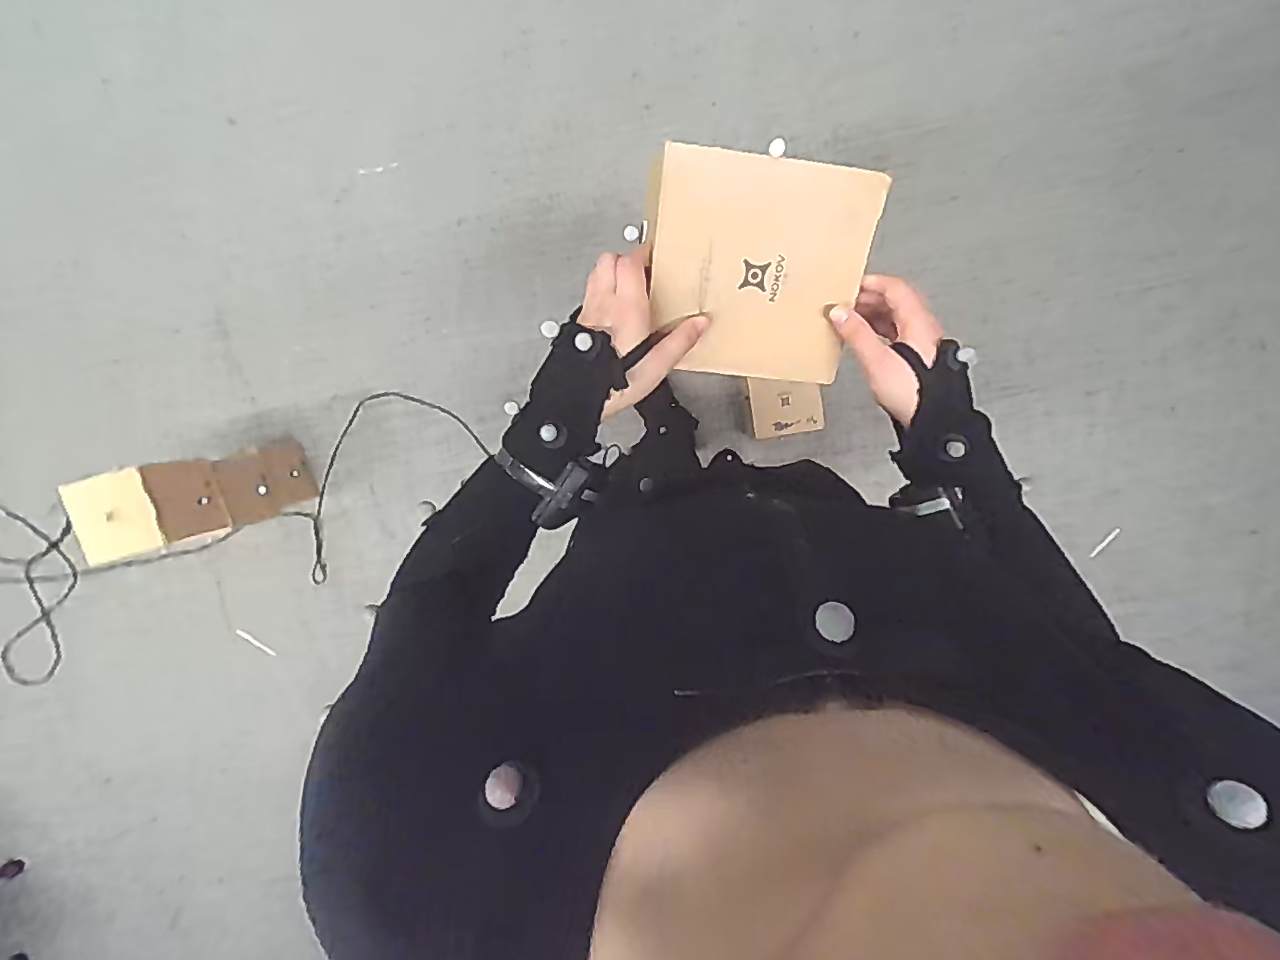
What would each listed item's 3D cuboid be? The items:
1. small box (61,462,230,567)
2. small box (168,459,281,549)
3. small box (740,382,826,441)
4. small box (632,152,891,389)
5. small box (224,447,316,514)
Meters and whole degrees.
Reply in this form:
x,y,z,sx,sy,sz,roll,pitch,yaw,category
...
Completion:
x,y,z,sx,sy,sz,roll,pitch,yaw,category
-1.024,0.066,1.135,0.179,0.176,0.168,-15,96,5,small box
-1.017,0.052,1.297,0.179,0.176,0.168,-14,97,5,small box
0.348,-0.196,1.340,0.168,0.176,0.179,-9,96,5,small box
0.089,-0.192,0.499,0.179,0.176,0.168,4,116,-5,small box
-1.014,0.015,1.457,0.179,0.176,0.168,-18,95,6,small box
